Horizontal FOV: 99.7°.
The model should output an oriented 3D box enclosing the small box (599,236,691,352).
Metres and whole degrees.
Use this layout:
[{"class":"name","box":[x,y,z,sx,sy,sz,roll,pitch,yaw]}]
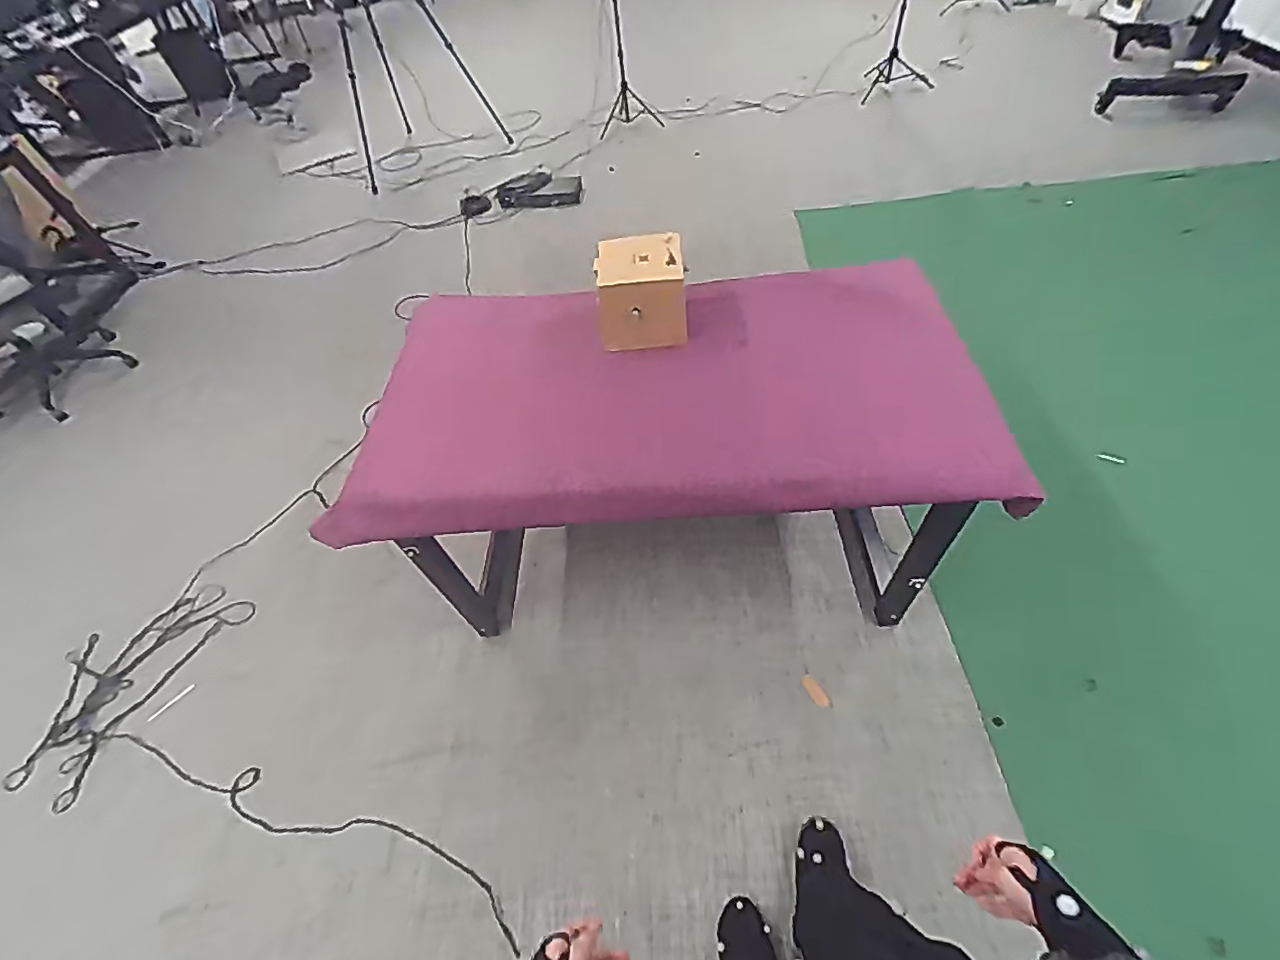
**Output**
[{"class":"small box","box":[0.015,-0.394,1.161,0.179,0.176,0.168,-5,54,5]}]
